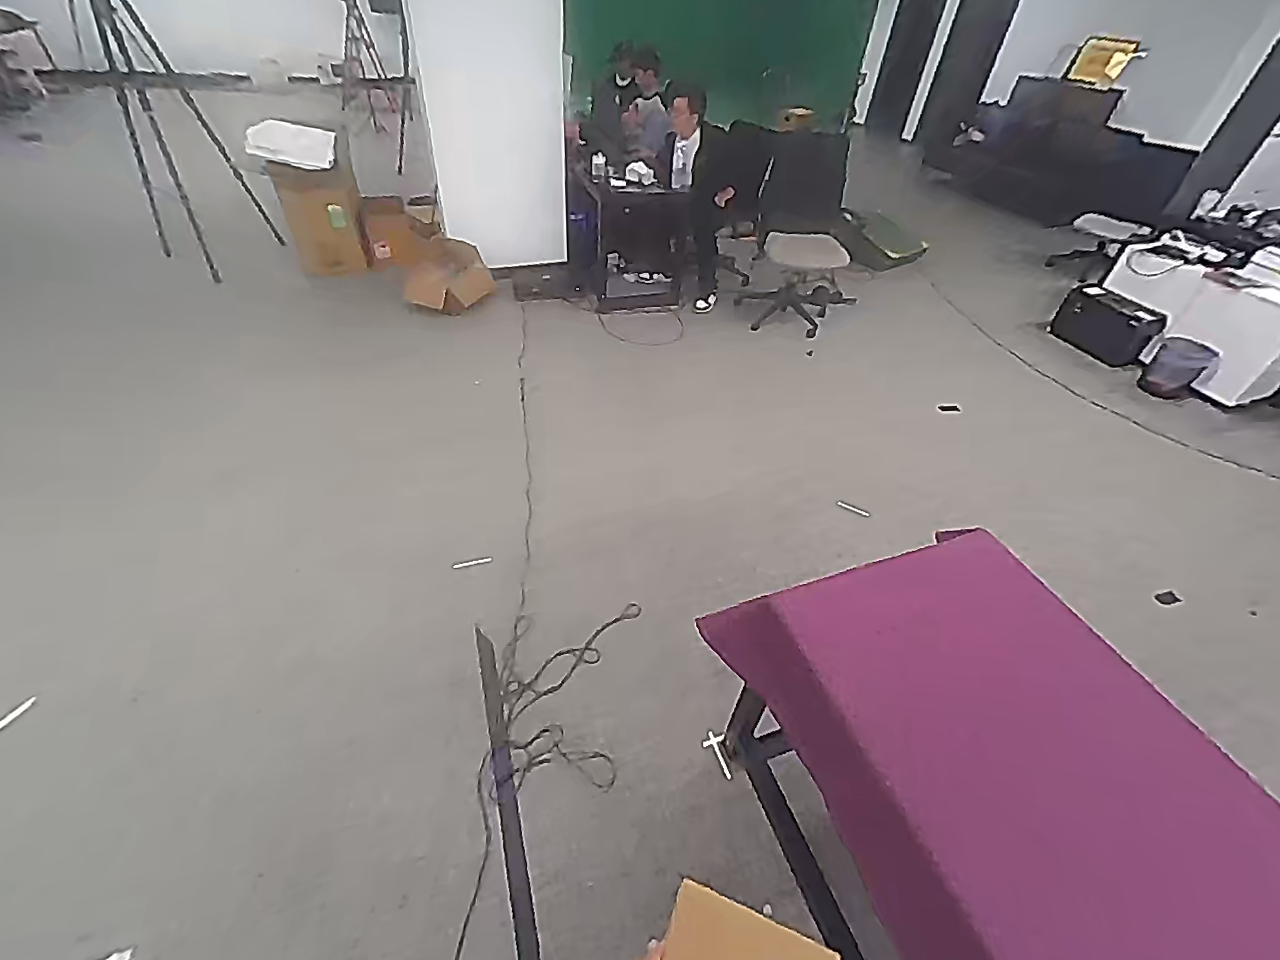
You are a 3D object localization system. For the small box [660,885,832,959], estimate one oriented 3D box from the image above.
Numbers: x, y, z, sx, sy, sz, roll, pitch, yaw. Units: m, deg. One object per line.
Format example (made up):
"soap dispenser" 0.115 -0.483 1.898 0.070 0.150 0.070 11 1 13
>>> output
"small box" 0.104 0.591 0.608 0.179 0.176 0.168 17 53 16
